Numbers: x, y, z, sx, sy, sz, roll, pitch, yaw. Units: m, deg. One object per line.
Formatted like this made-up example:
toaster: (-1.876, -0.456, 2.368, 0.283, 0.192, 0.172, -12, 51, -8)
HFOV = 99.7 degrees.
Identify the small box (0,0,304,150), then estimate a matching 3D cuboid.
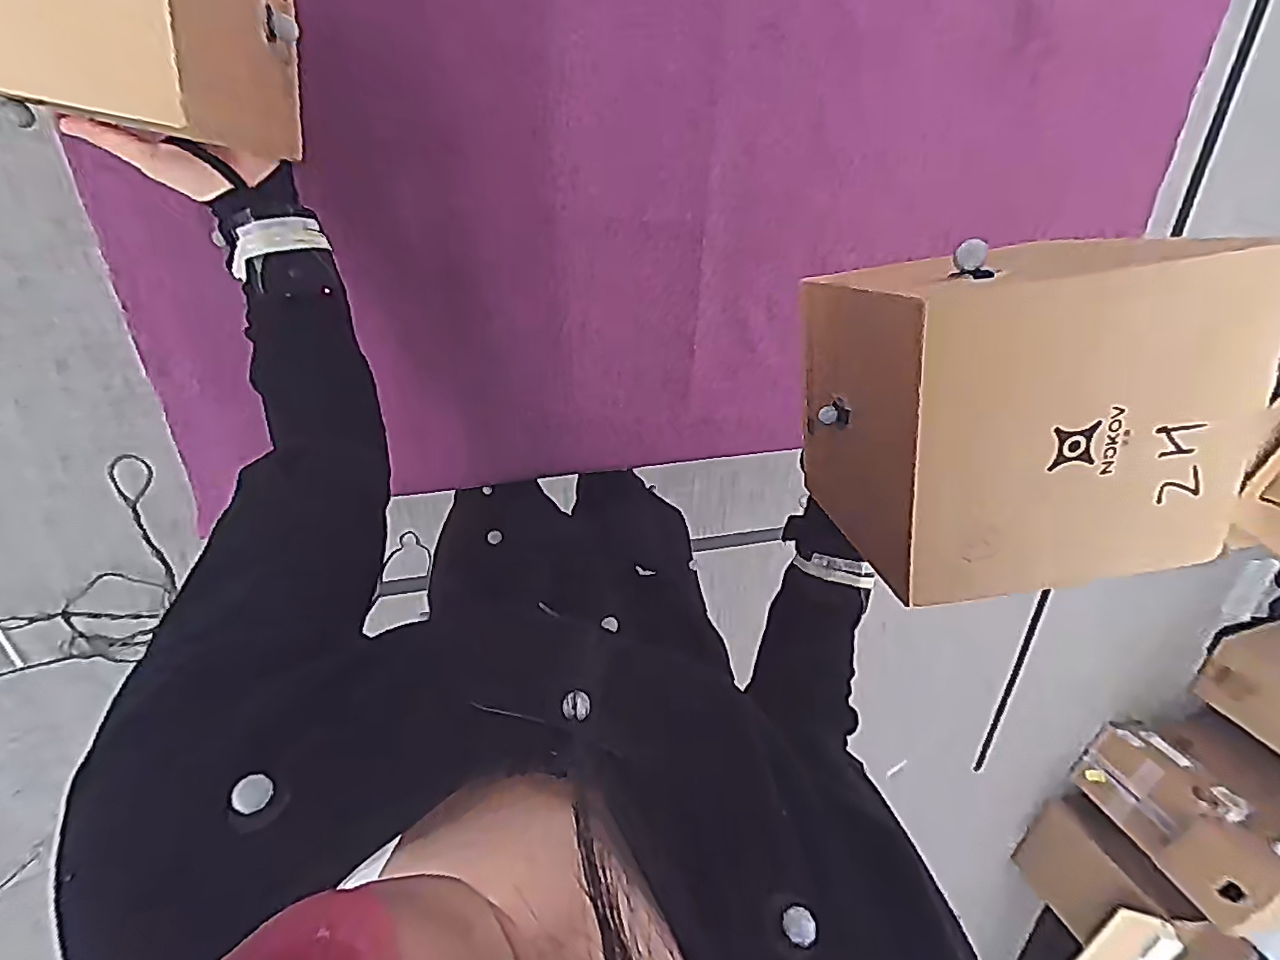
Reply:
small box: (-0.314, -0.299, 0.297, 0.179, 0.176, 0.168, 5, 114, -15)

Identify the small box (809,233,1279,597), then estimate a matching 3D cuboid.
small box: (0.215, -0.052, 0.342, 0.179, 0.176, 0.168, -9, 114, 0)
